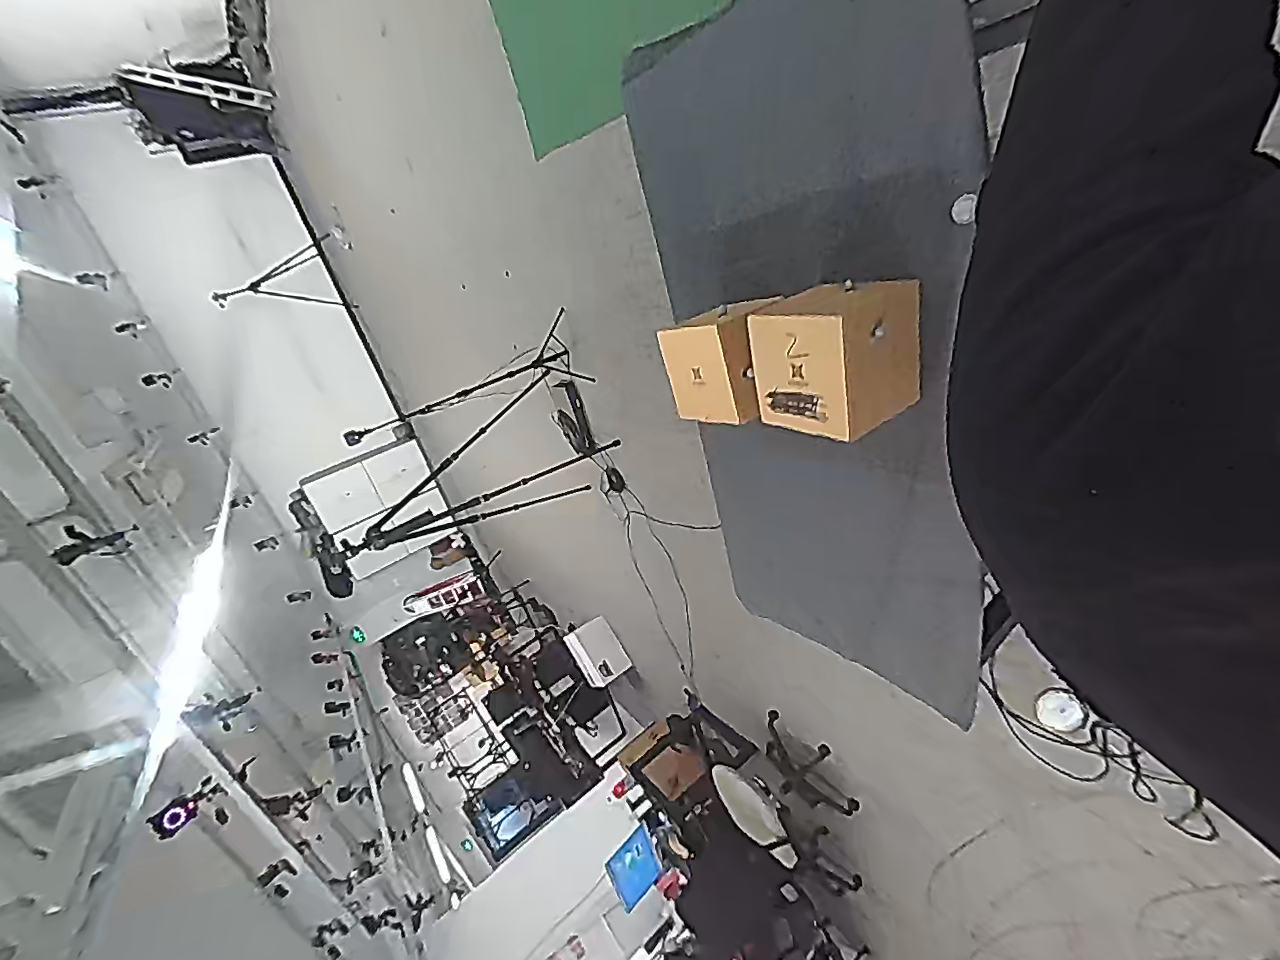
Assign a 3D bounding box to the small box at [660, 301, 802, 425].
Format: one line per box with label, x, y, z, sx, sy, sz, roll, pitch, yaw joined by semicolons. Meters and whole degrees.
small box;0.169;-0.217;0.989;0.168;0.176;0.179;15;130;55
